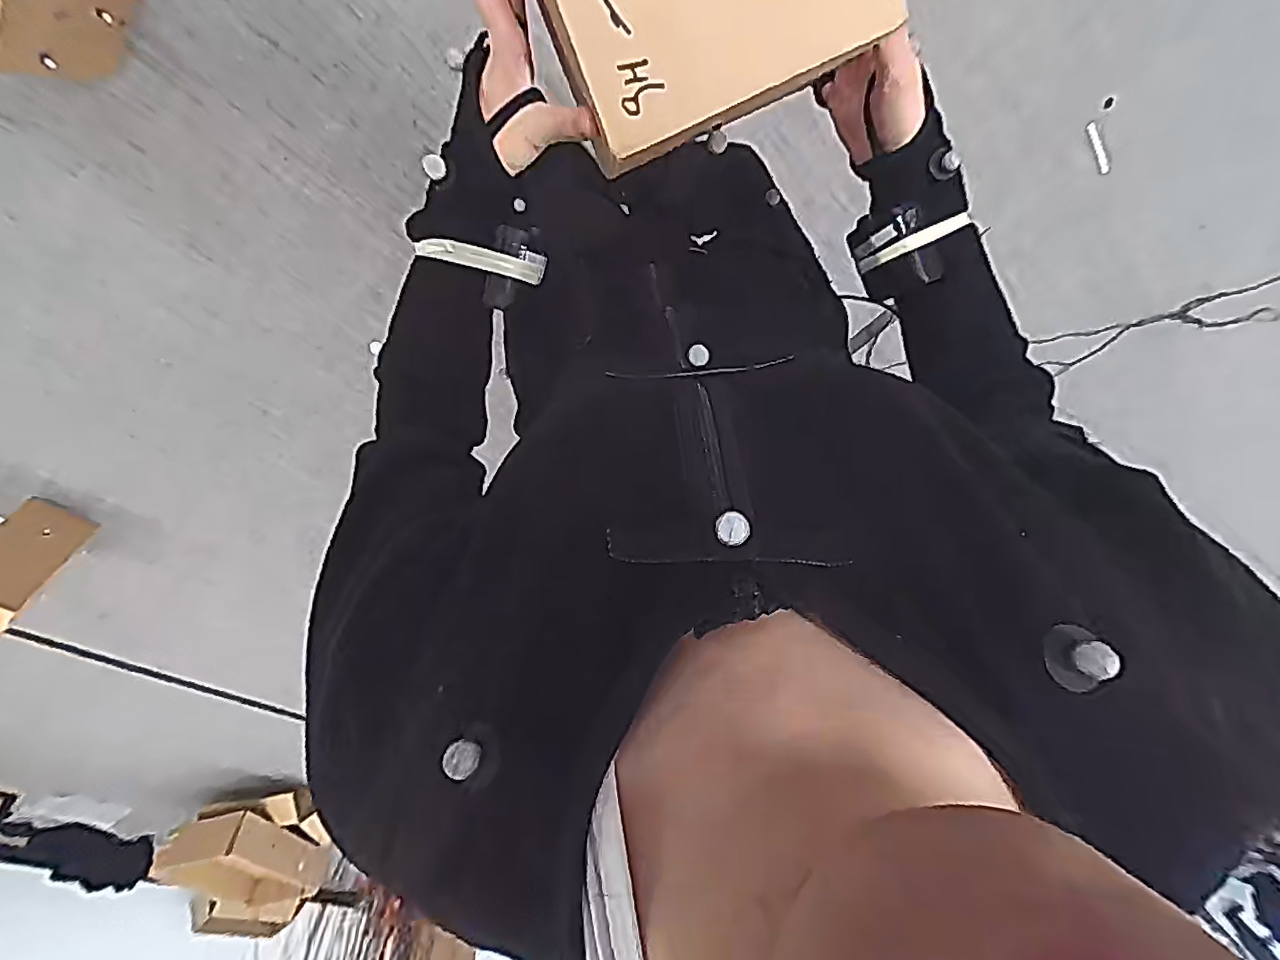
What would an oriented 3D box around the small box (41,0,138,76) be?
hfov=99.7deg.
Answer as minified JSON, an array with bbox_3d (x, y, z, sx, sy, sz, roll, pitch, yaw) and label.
[{"bbox_3d":[-0.994,-0.816,0.894,0.179,0.176,0.168,32,117,-26],"label":"small box"}]

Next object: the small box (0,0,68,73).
[{"bbox_3d":[-0.974,-0.718,0.763,0.179,0.176,0.168,33,117,-27],"label":"small box"}]

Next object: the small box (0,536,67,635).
[{"bbox_3d":[-1.724,0.276,1.448,0.168,0.176,0.179,-36,124,21],"label":"small box"}]

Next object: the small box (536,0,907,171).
[{"bbox_3d":[0.028,-0.318,0.337,0.179,0.176,0.168,-23,114,5],"label":"small box"}]
